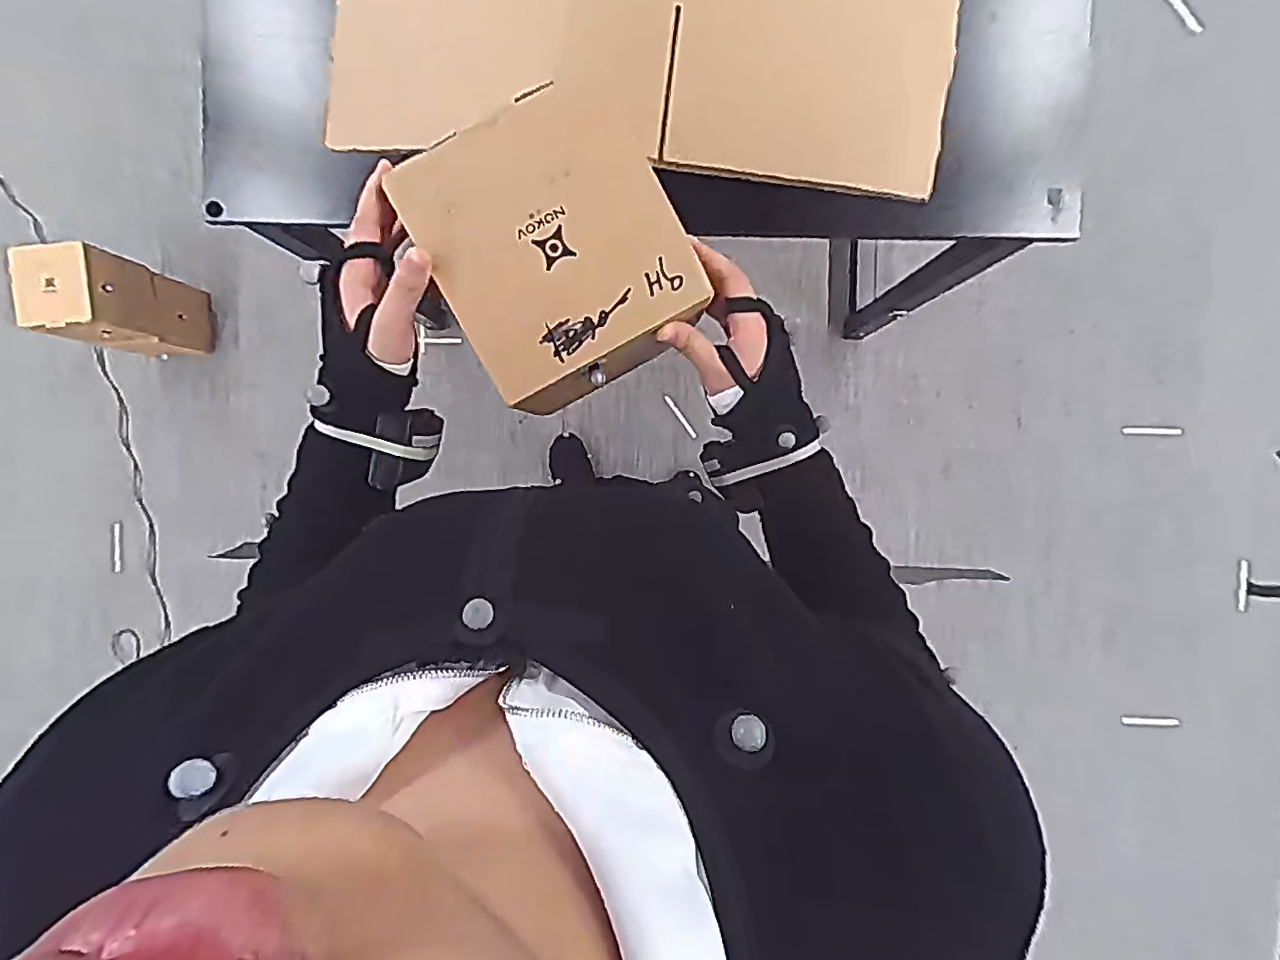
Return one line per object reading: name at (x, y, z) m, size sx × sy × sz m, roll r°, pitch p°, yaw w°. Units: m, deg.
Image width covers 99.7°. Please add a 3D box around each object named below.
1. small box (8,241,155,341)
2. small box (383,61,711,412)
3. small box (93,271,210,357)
small box at (-1.272, -0.425, 1.246) m, size 0.168 × 0.176 × 0.179 m, roll -5°, pitch 91°, yaw 0°
small box at (-0.065, -0.171, 0.443) m, size 0.168 × 0.176 × 0.179 m, roll -29°, pitch 94°, yaw 0°
small box at (-1.268, -0.426, 1.408) m, size 0.168 × 0.176 × 0.179 m, roll -2°, pitch 93°, yaw 1°
